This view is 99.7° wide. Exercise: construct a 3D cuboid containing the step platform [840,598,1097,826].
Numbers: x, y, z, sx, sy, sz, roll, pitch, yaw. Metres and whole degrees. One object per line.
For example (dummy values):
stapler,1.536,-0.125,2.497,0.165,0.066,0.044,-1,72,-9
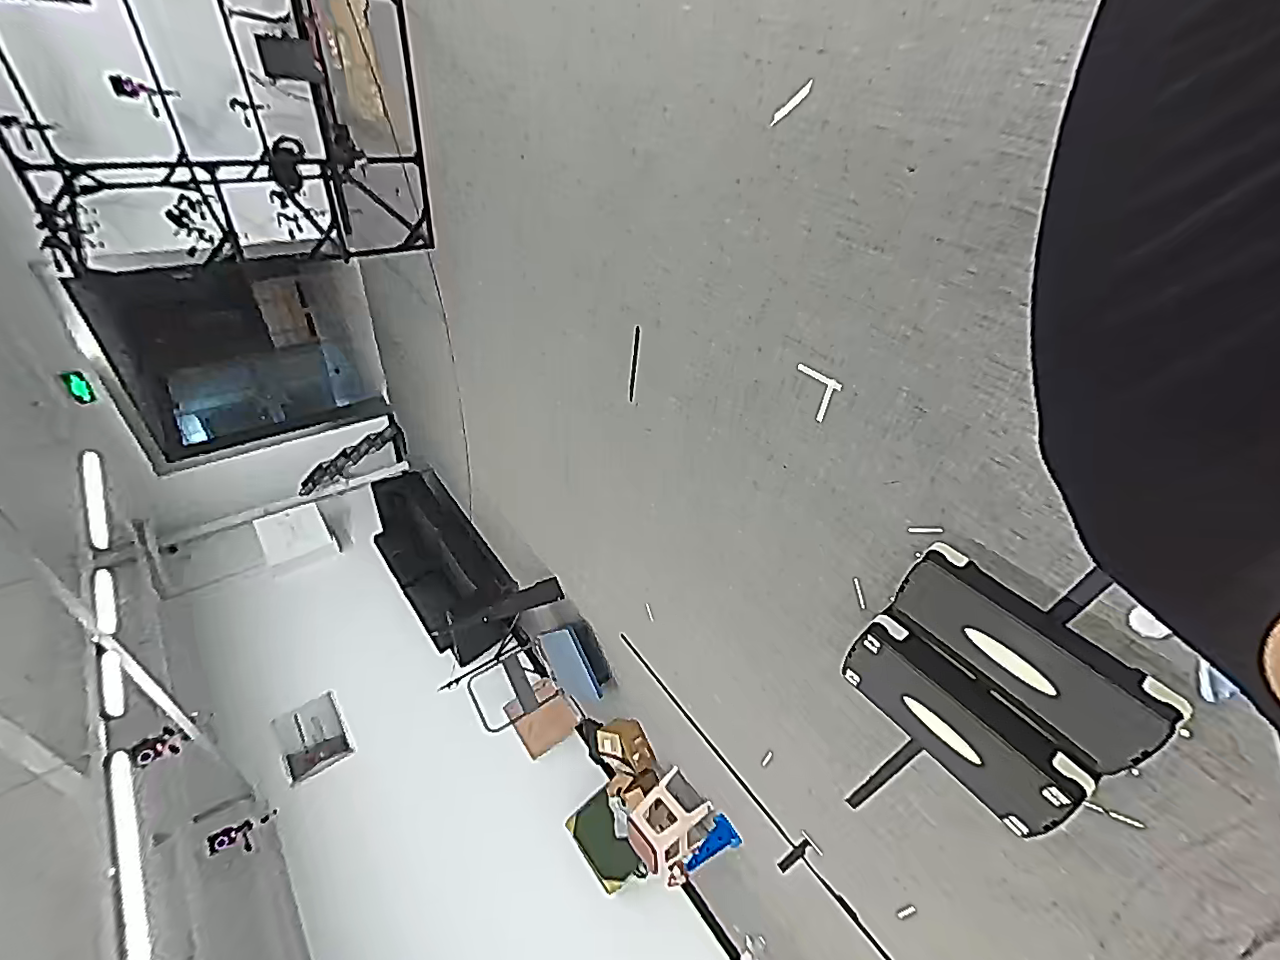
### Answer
step platform,0.975,0.703,1.695,0.684,0.204,0.286,42,141,36
